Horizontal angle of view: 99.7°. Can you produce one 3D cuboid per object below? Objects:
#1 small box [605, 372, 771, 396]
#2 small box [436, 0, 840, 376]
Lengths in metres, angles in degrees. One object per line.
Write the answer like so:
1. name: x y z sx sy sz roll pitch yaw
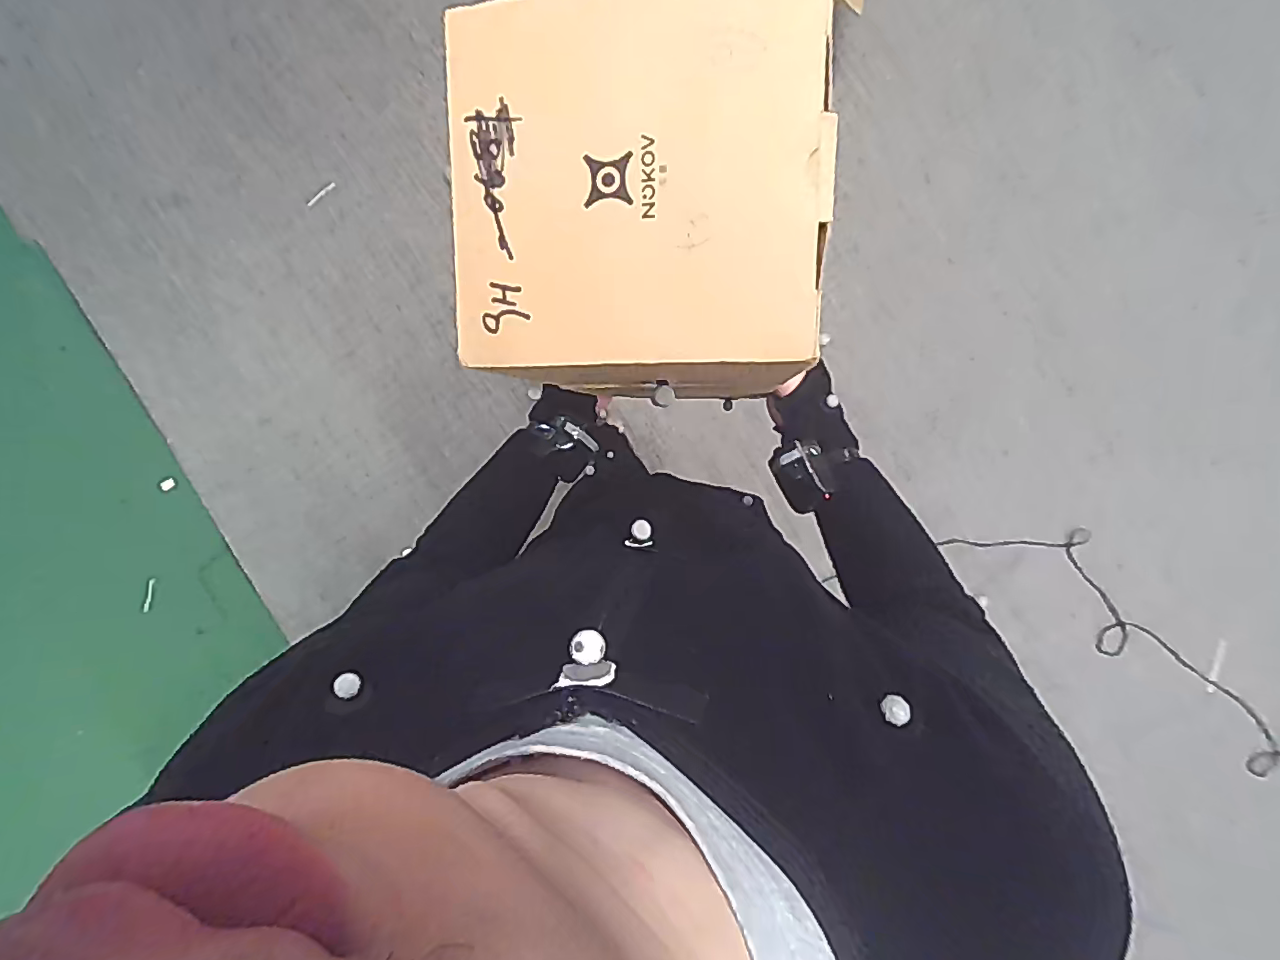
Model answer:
1. small box: 0.062 -0.187 0.637 0.179 0.176 0.168 1 96 11
2. small box: 0.006 -0.152 0.316 0.179 0.176 0.168 2 97 9
